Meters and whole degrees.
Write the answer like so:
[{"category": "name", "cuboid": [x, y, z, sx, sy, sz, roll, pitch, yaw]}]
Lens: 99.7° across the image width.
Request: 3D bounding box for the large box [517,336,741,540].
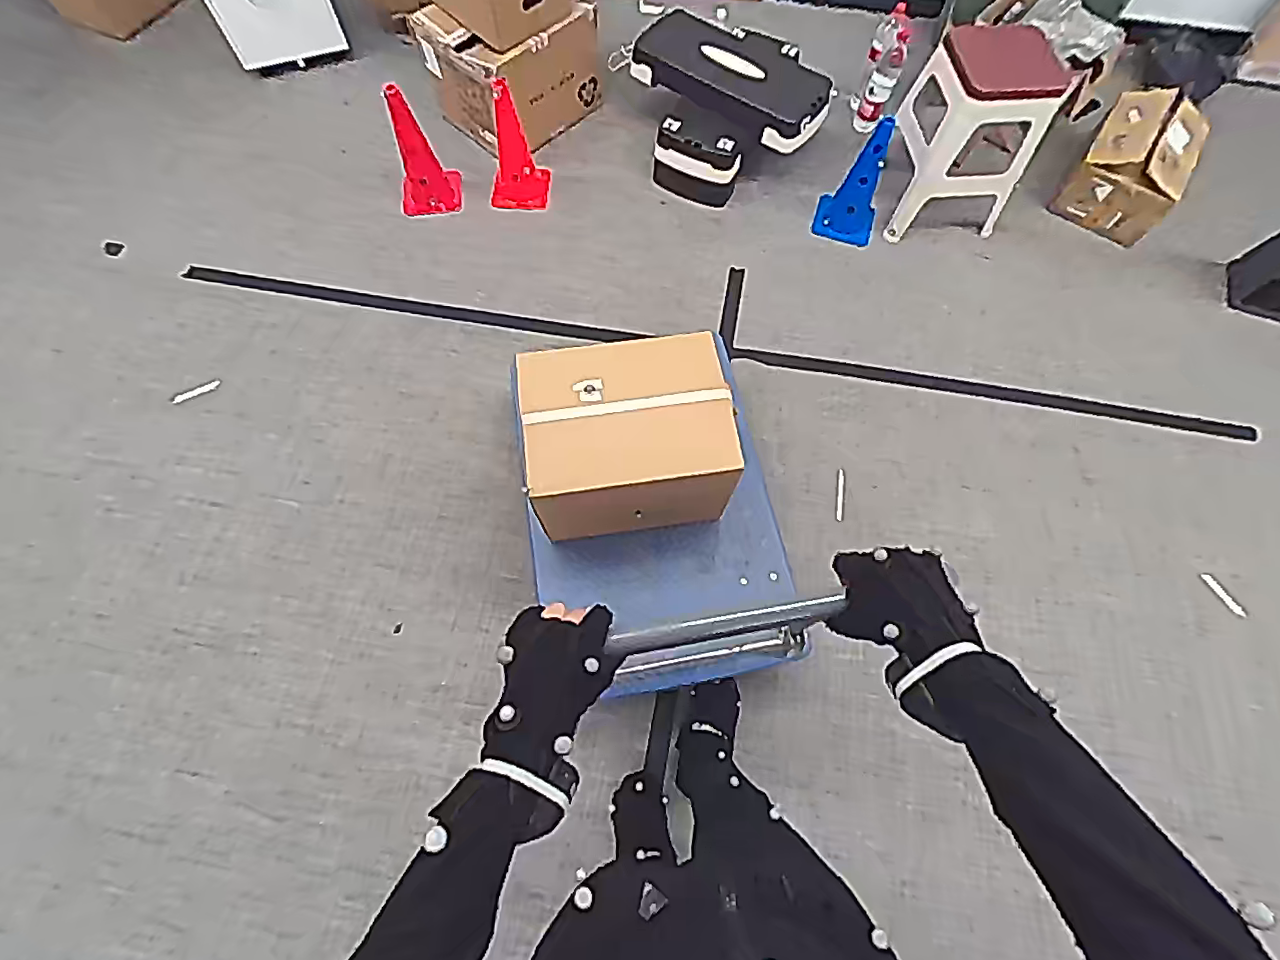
[{"category": "large box", "cuboid": [-0.029, -0.077, 1.191, 0.408, 0.320, 0.320, -8, 68, -3]}]
